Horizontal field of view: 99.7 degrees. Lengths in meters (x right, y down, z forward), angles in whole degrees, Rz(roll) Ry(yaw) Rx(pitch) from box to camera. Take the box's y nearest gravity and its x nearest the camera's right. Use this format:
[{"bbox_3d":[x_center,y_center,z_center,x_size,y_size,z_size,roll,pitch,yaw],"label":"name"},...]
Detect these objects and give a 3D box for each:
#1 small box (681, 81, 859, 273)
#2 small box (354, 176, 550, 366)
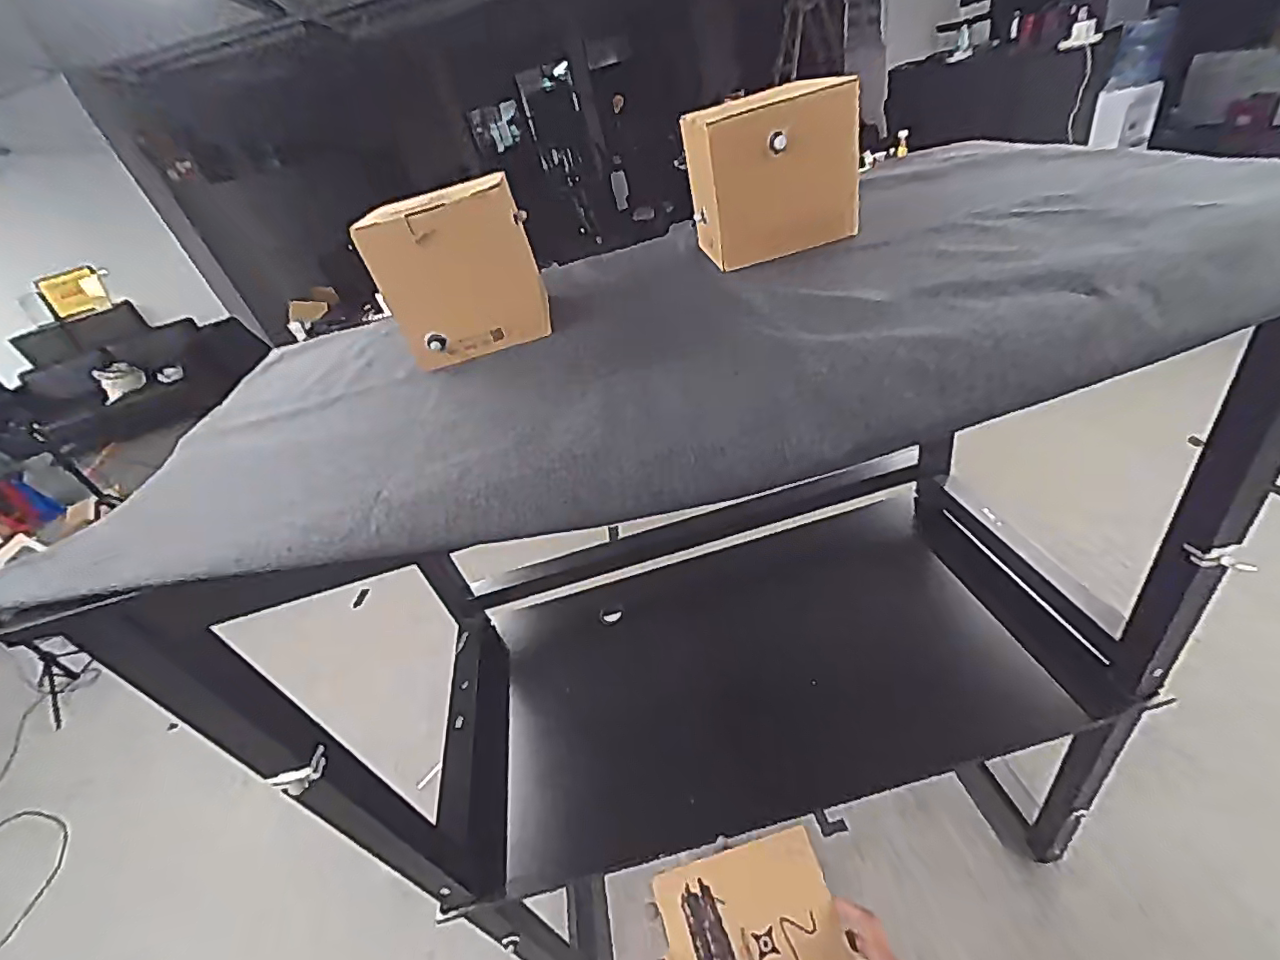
[{"bbox_3d":[0.165,-0.391,0.700,0.179,0.176,0.168,-16,35,3],"label":"small box"},{"bbox_3d":[-0.217,-0.259,0.679,0.168,0.176,0.179,-17,34,0],"label":"small box"}]
